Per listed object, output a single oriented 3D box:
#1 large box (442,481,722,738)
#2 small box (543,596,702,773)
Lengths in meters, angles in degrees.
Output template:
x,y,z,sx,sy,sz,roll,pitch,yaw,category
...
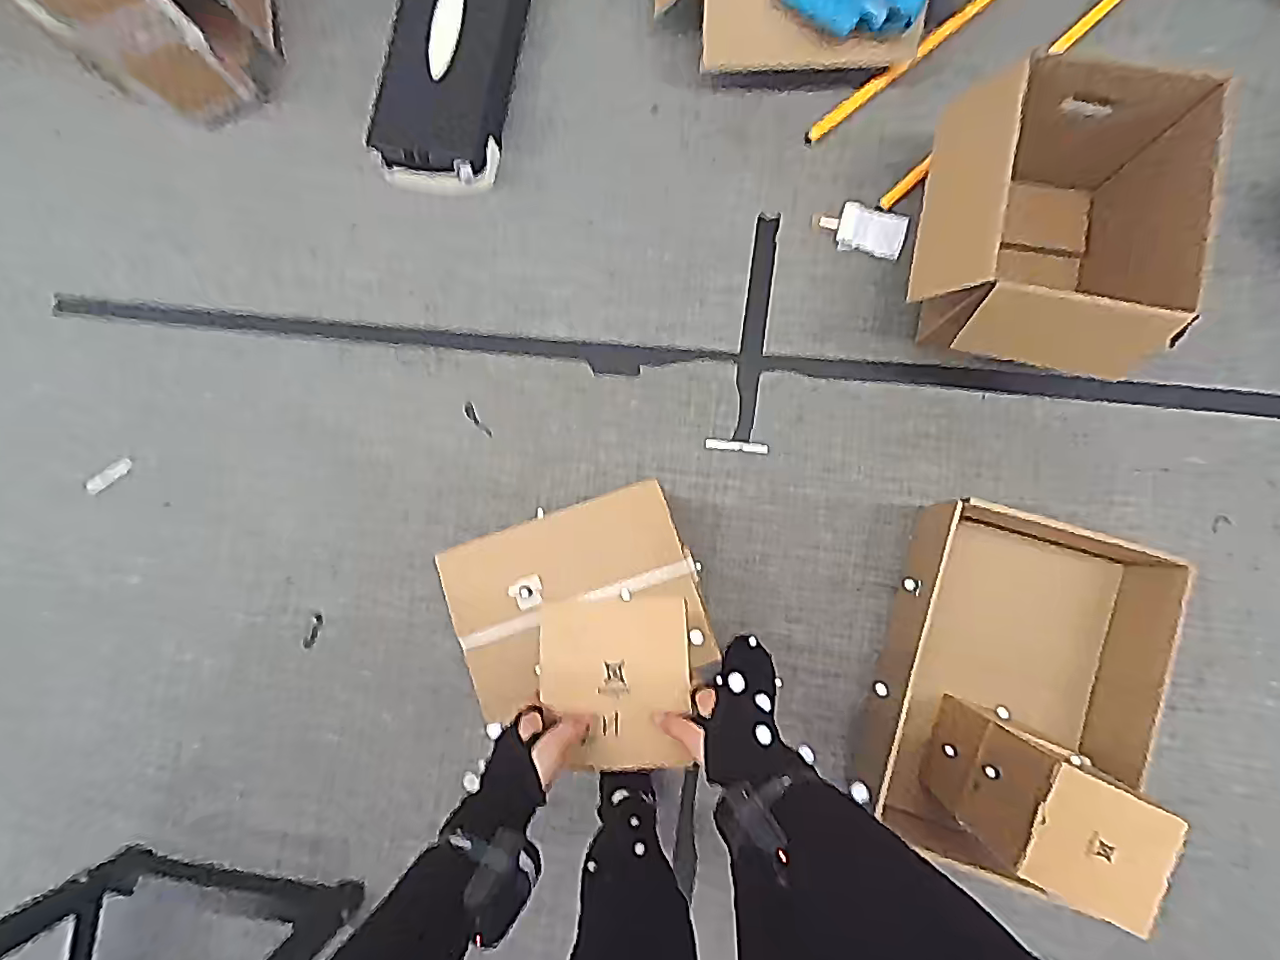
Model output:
x,y,z,sx,sy,sz,roll,pitch,yaw,category
-0.087,0.223,1.038,0.408,0.320,0.320,-21,82,4,large box
-0.014,0.237,0.650,0.168,0.176,0.179,-3,74,5,small box
